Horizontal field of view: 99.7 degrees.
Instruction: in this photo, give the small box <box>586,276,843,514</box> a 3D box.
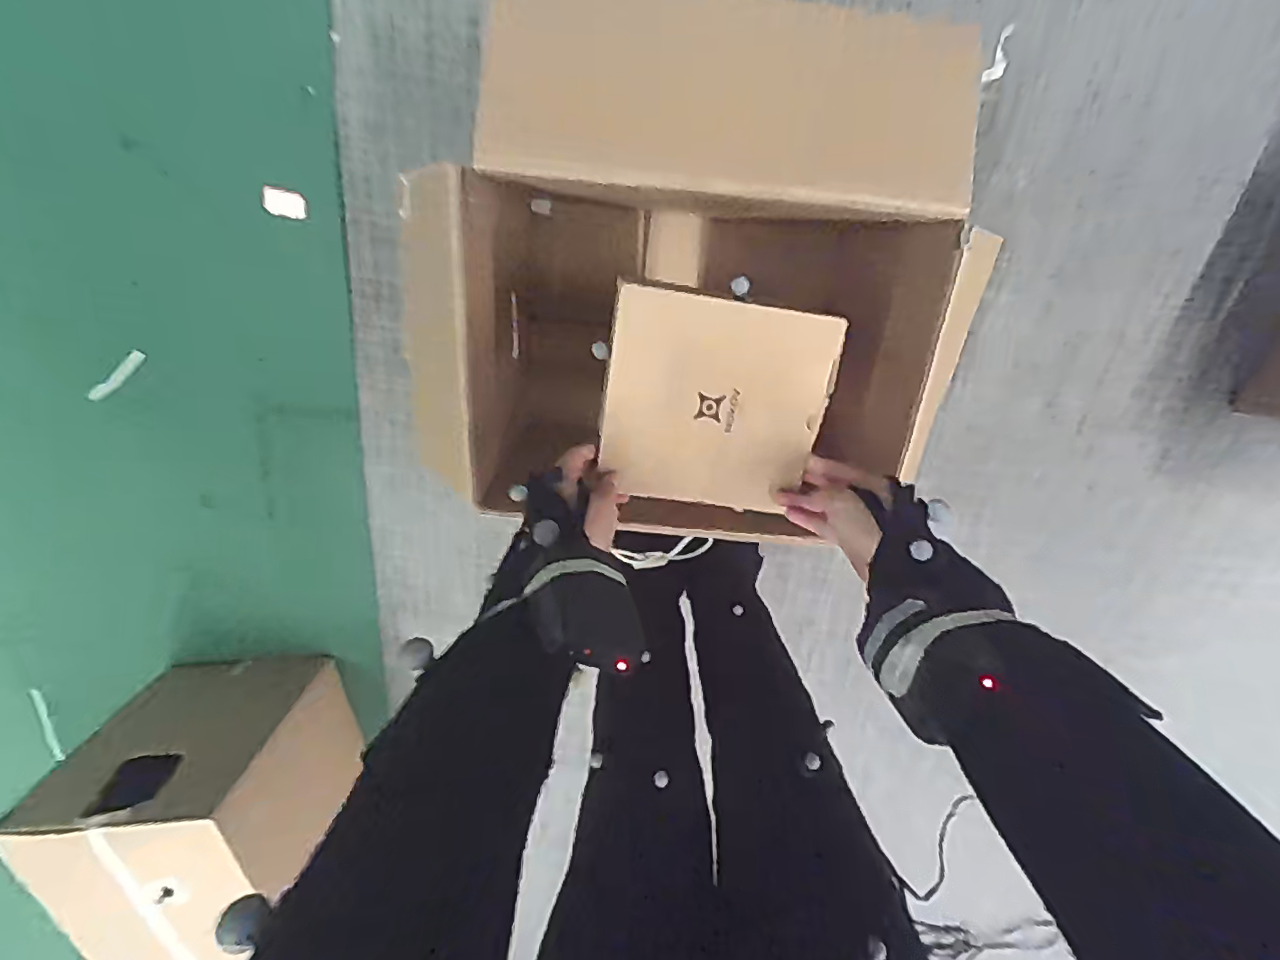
[{"bbox_3d":[0.050,-0.086,0.499,0.179,0.176,0.168,8,111,-7],"label":"small box"}]
